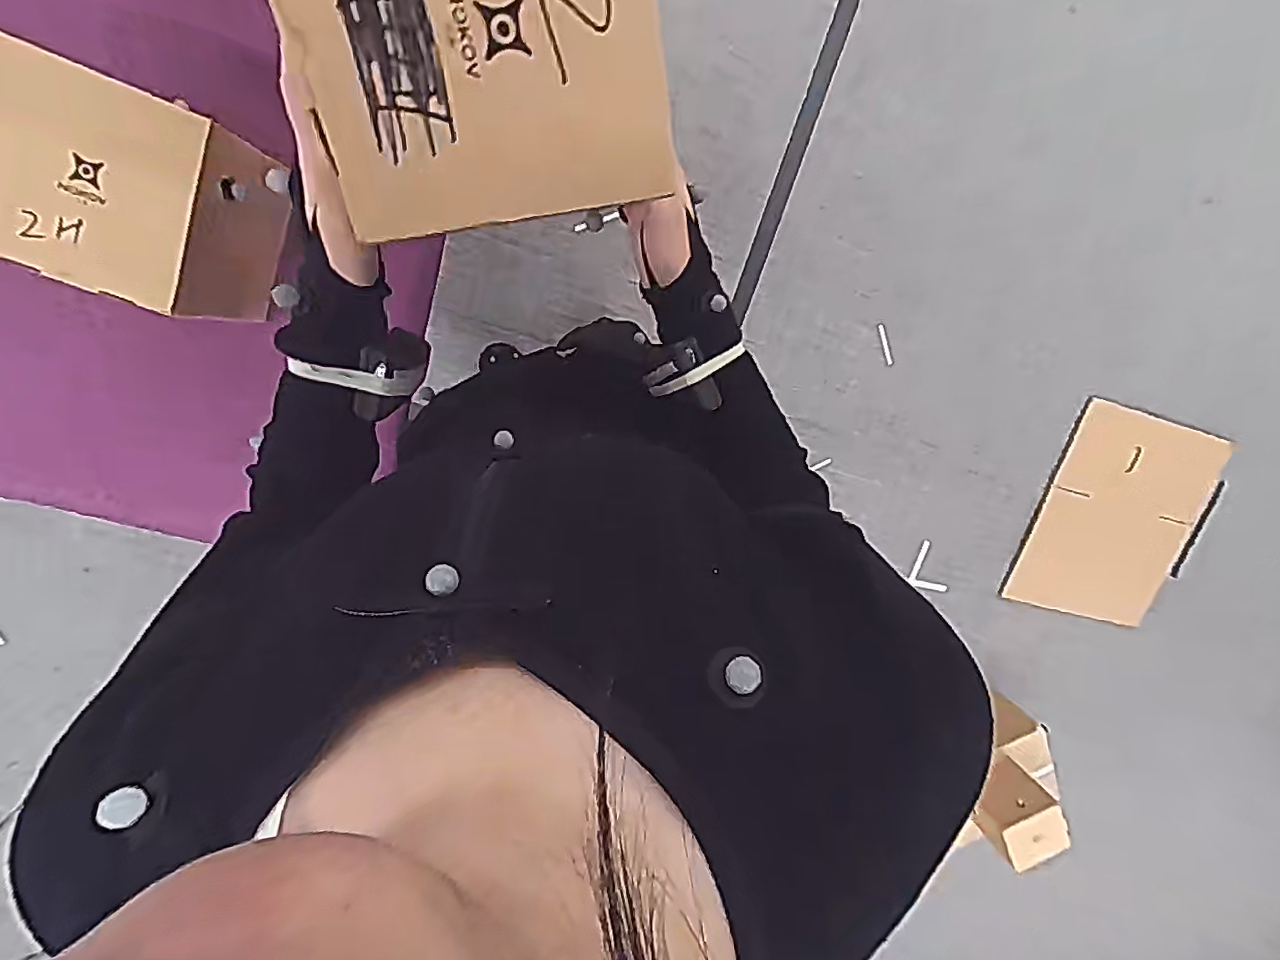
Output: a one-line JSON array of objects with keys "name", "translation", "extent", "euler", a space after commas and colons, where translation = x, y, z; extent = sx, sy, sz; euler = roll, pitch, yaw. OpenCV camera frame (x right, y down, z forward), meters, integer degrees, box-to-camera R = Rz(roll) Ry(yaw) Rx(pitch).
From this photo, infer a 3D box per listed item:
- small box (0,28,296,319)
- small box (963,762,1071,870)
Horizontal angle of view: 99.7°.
[{"name": "small box", "translation": [-0.476, -0.274, 0.536], "extent": [0.168, 0.176, 0.179], "euler": [19, 102, -12]}, {"name": "small box", "translation": [1.068, 0.948, 1.541], "extent": [0.179, 0.176, 0.168], "euler": [-25, 105, 0]}]
